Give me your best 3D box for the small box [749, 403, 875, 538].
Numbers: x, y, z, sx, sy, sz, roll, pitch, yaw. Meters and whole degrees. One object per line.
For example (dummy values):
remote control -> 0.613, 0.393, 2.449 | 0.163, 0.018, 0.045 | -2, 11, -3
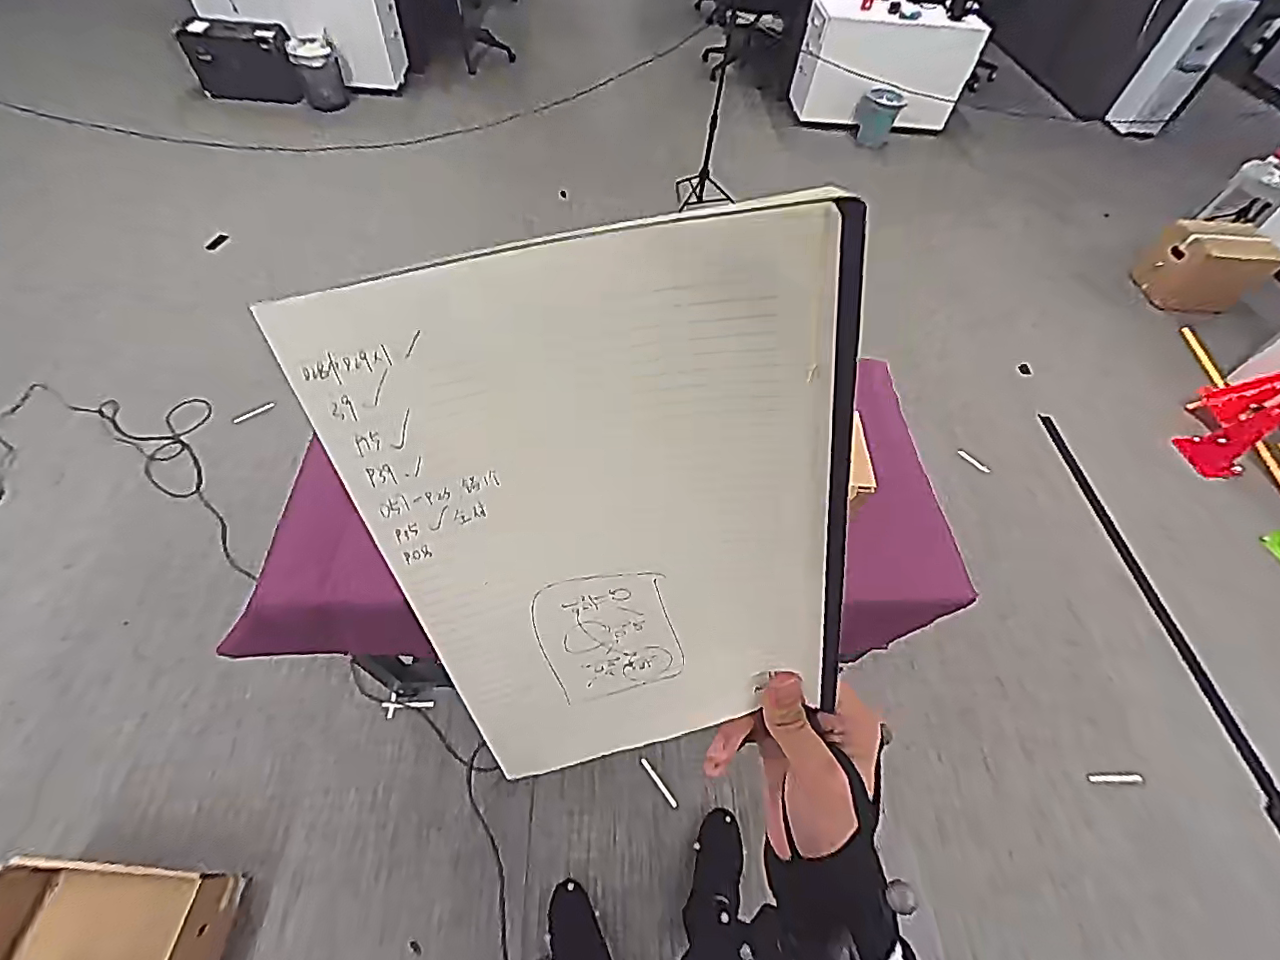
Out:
small box -> 0.298, -0.012, 0.980 | 0.168, 0.176, 0.179 | 6, 55, -2
